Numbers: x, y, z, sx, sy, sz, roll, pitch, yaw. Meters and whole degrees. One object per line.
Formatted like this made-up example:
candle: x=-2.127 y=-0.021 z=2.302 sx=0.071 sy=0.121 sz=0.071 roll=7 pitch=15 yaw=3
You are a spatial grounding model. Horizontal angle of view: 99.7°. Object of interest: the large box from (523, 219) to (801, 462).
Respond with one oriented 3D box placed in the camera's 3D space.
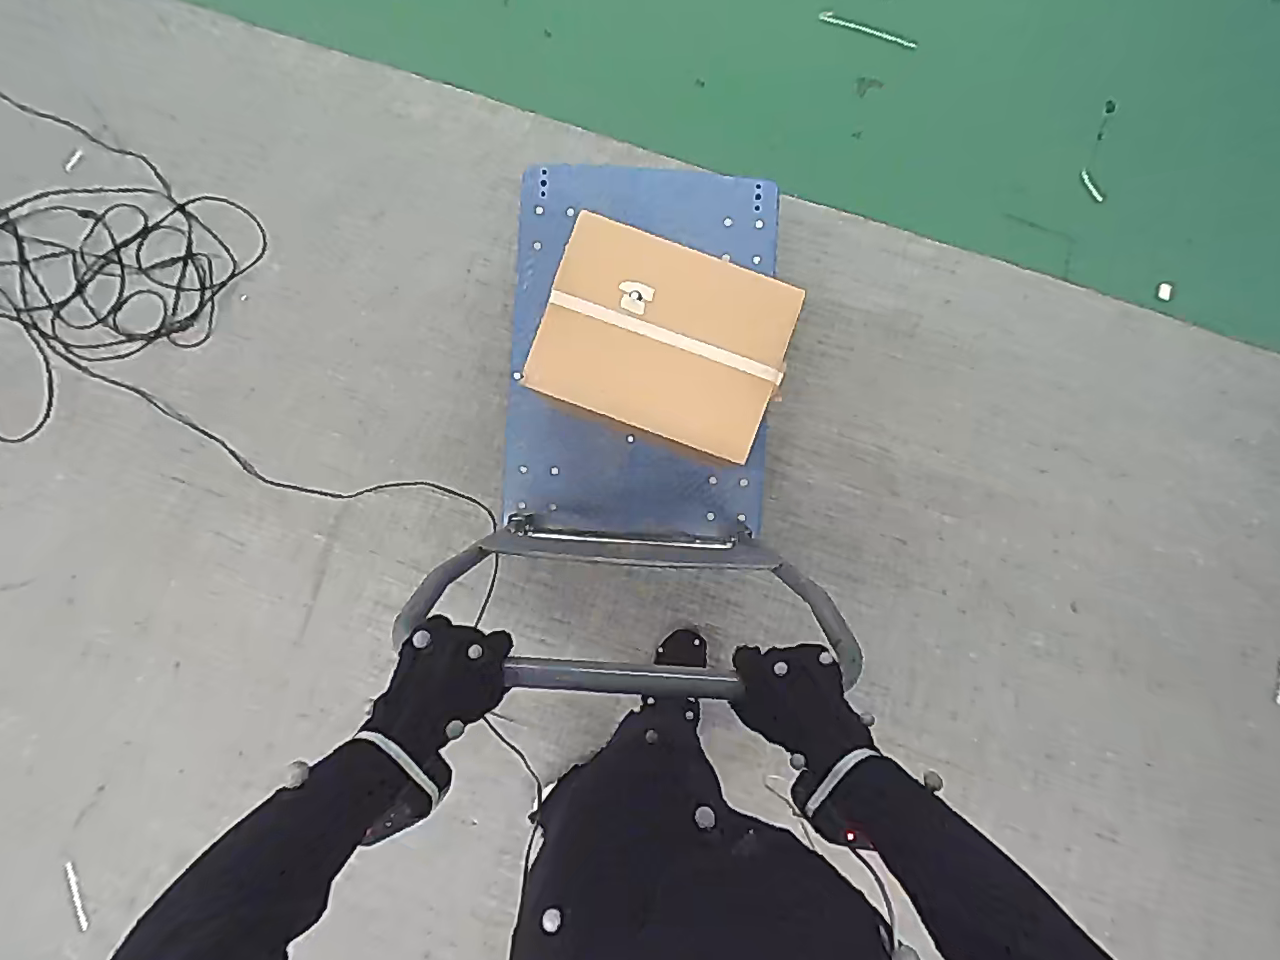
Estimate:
large box: x=0.040 y=-0.236 z=1.052 sx=0.408 sy=0.320 sz=0.320 roll=19 pitch=90 yaw=1
